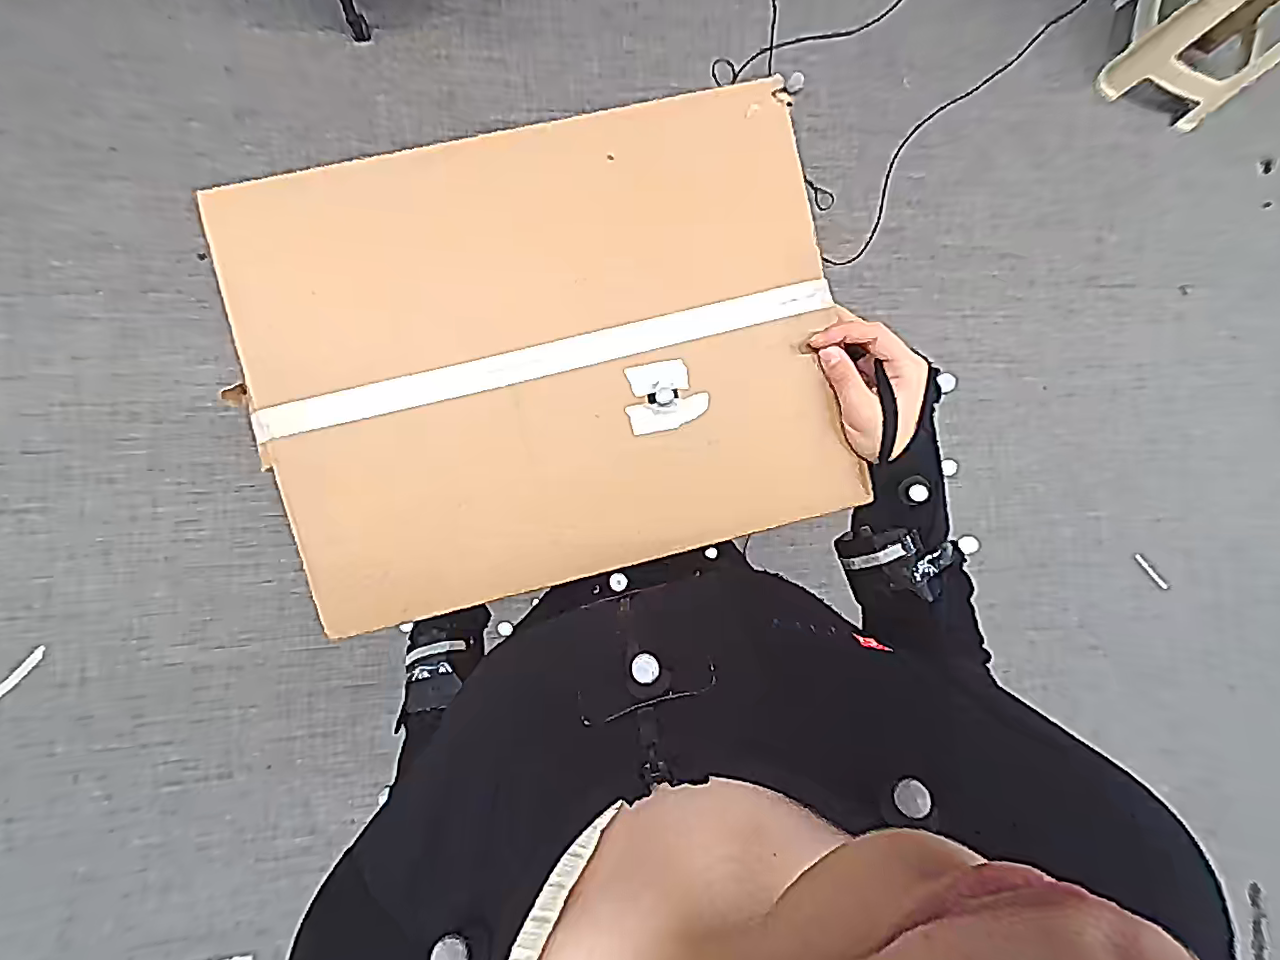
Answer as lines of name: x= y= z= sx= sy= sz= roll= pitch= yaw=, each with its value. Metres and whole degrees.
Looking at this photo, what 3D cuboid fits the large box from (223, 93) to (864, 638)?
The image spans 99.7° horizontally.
large box: x=-0.071 y=-0.090 z=0.537 sx=0.408 sy=0.320 sz=0.320 roll=-15 pitch=94 yaw=-5
